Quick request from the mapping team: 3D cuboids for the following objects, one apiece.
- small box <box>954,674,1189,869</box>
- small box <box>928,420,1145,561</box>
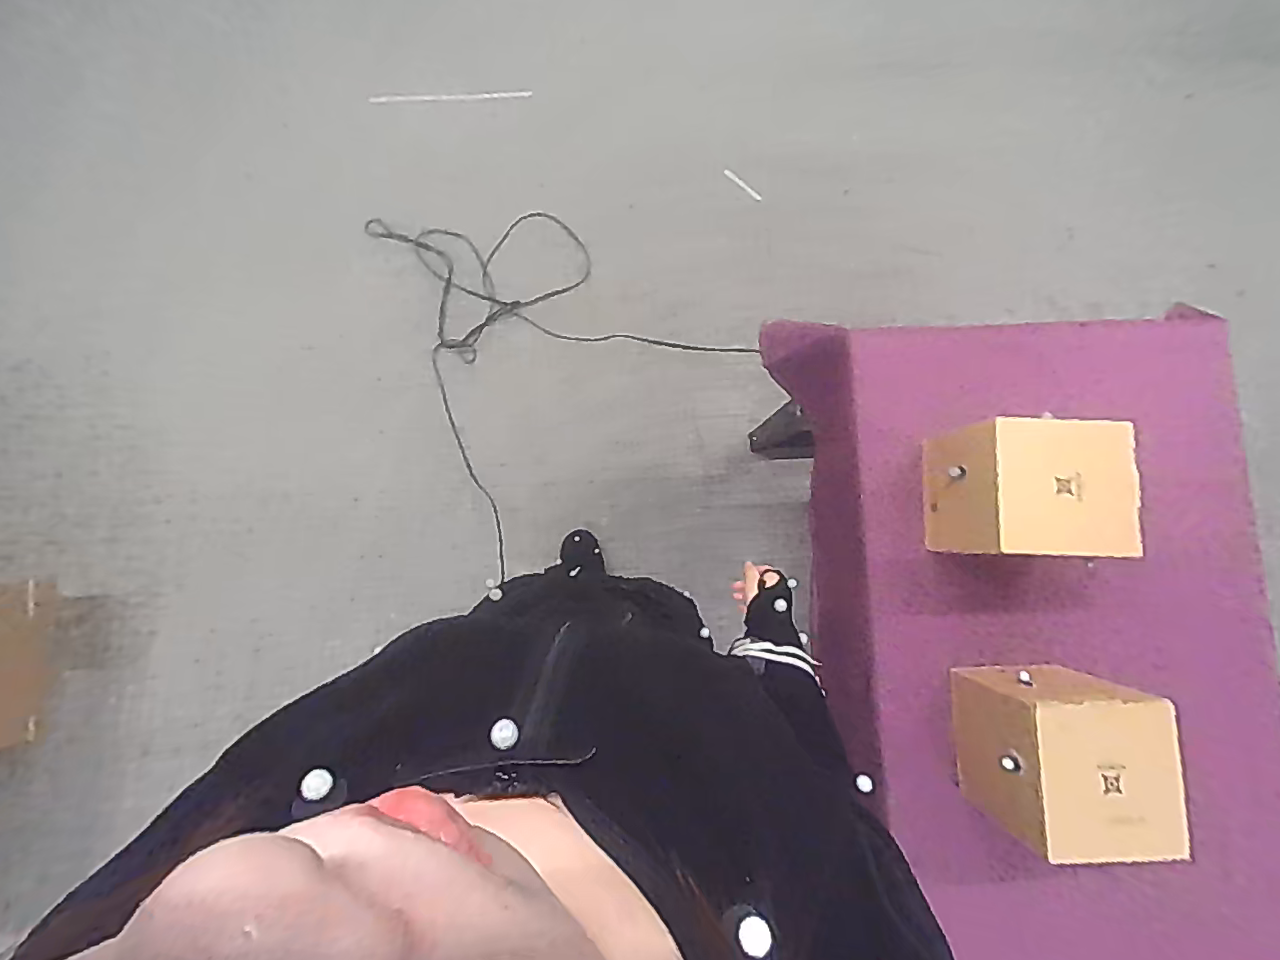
[{"bbox_3d":[0.528,0.354,0.688,0.168,0.176,0.179,0,85,-1],"label":"small box"},{"bbox_3d":[0.509,0.022,0.723,0.179,0.176,0.168,2,84,-2],"label":"small box"}]
